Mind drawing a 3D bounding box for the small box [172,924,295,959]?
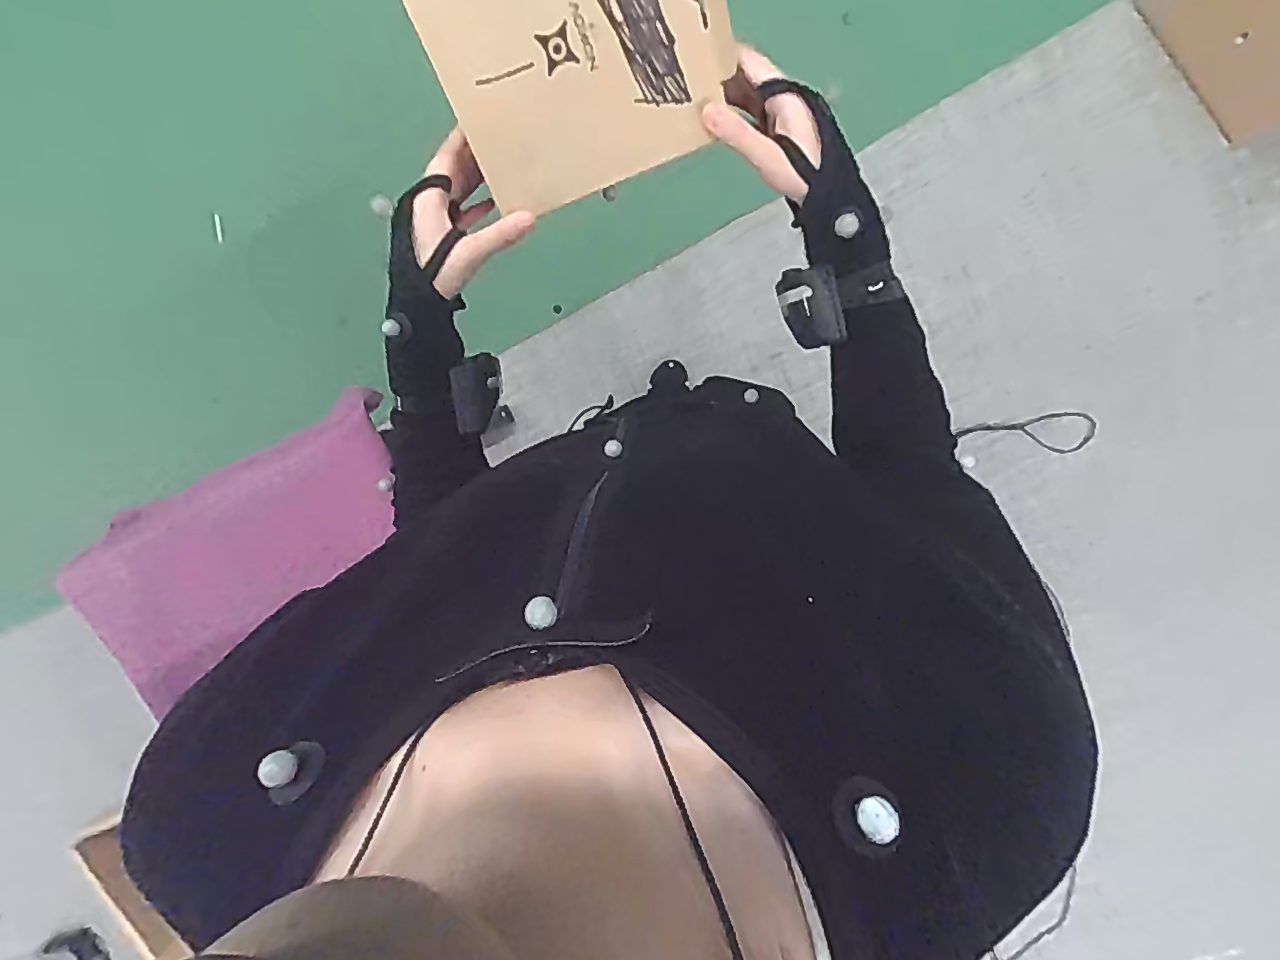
[{"bbox_3d":[-0.546,0.708,0.674,0.179,0.176,0.168,-23,98,9],"label":"small box"}]

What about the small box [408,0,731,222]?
[{"bbox_3d":[-0.048,-0.320,0.410,0.179,0.176,0.168,-18,121,8],"label":"small box"}]
